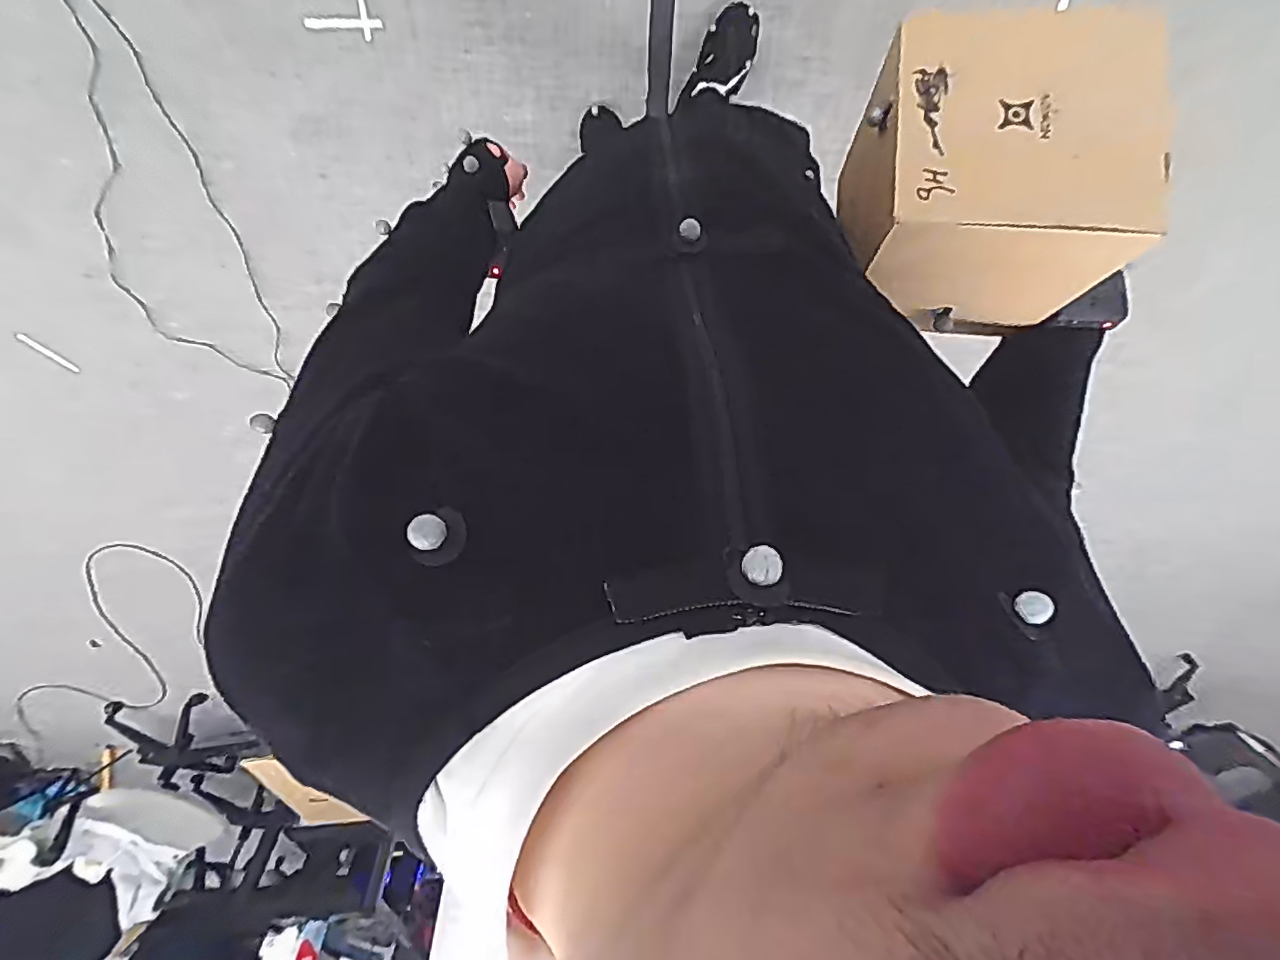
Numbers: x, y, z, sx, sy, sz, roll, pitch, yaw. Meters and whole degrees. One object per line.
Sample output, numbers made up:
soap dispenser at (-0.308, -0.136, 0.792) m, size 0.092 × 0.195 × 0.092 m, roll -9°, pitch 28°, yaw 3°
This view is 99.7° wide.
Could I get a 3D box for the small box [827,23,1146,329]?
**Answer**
small box at (0.277, -0.243, 0.469) m, size 0.179 × 0.168 × 0.176 m, roll 5°, pitch 172°, yaw 6°
